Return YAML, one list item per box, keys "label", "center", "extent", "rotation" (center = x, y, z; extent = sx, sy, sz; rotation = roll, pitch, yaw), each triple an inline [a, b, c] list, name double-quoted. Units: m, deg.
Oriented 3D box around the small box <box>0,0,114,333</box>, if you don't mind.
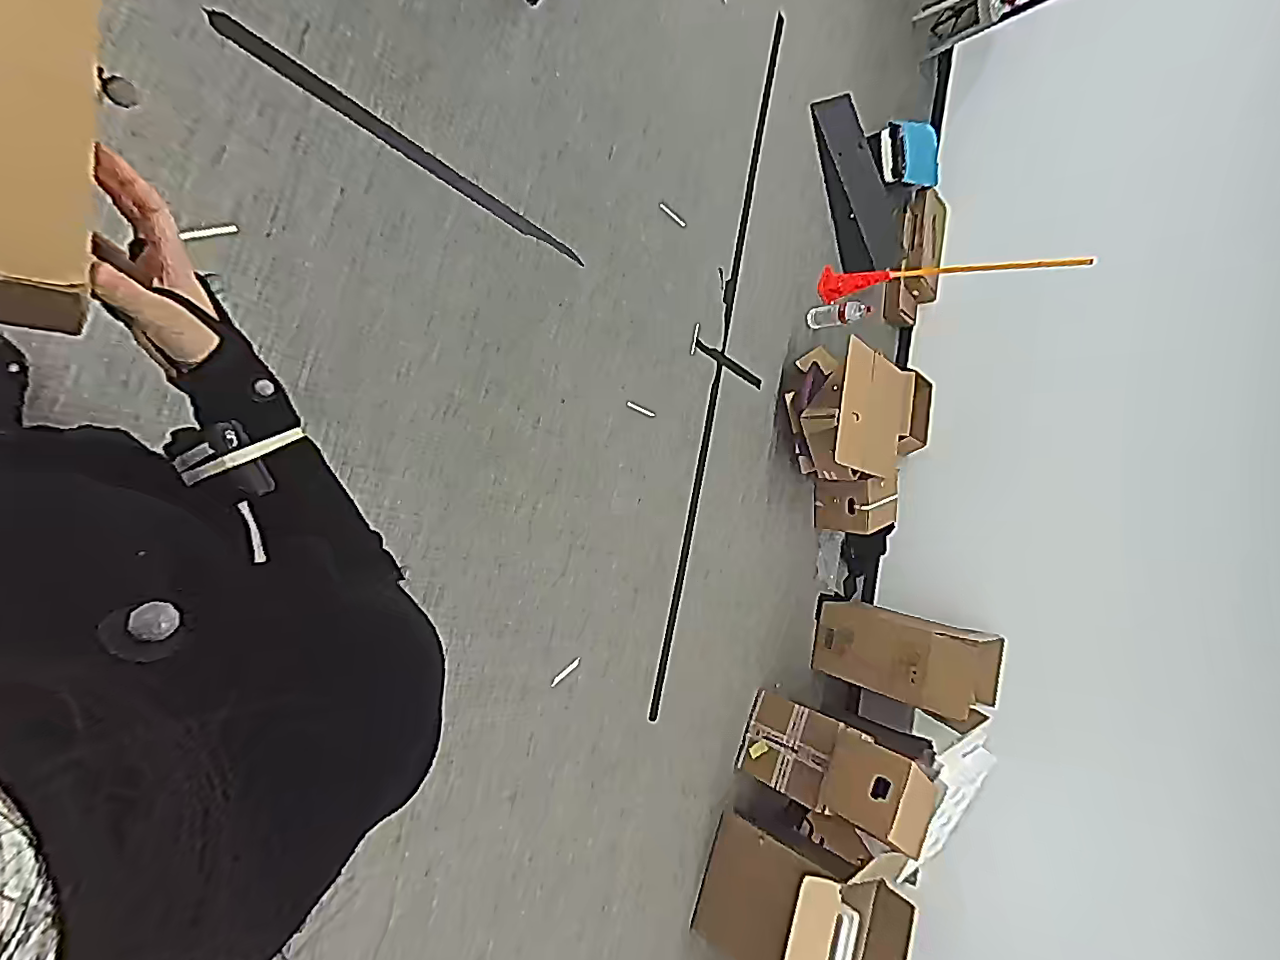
- label: "small box"
  center: [-0.401, -0.191, 0.285]
  extent: [0.168, 0.176, 0.179]
  rotation: [2, 91, -47]
